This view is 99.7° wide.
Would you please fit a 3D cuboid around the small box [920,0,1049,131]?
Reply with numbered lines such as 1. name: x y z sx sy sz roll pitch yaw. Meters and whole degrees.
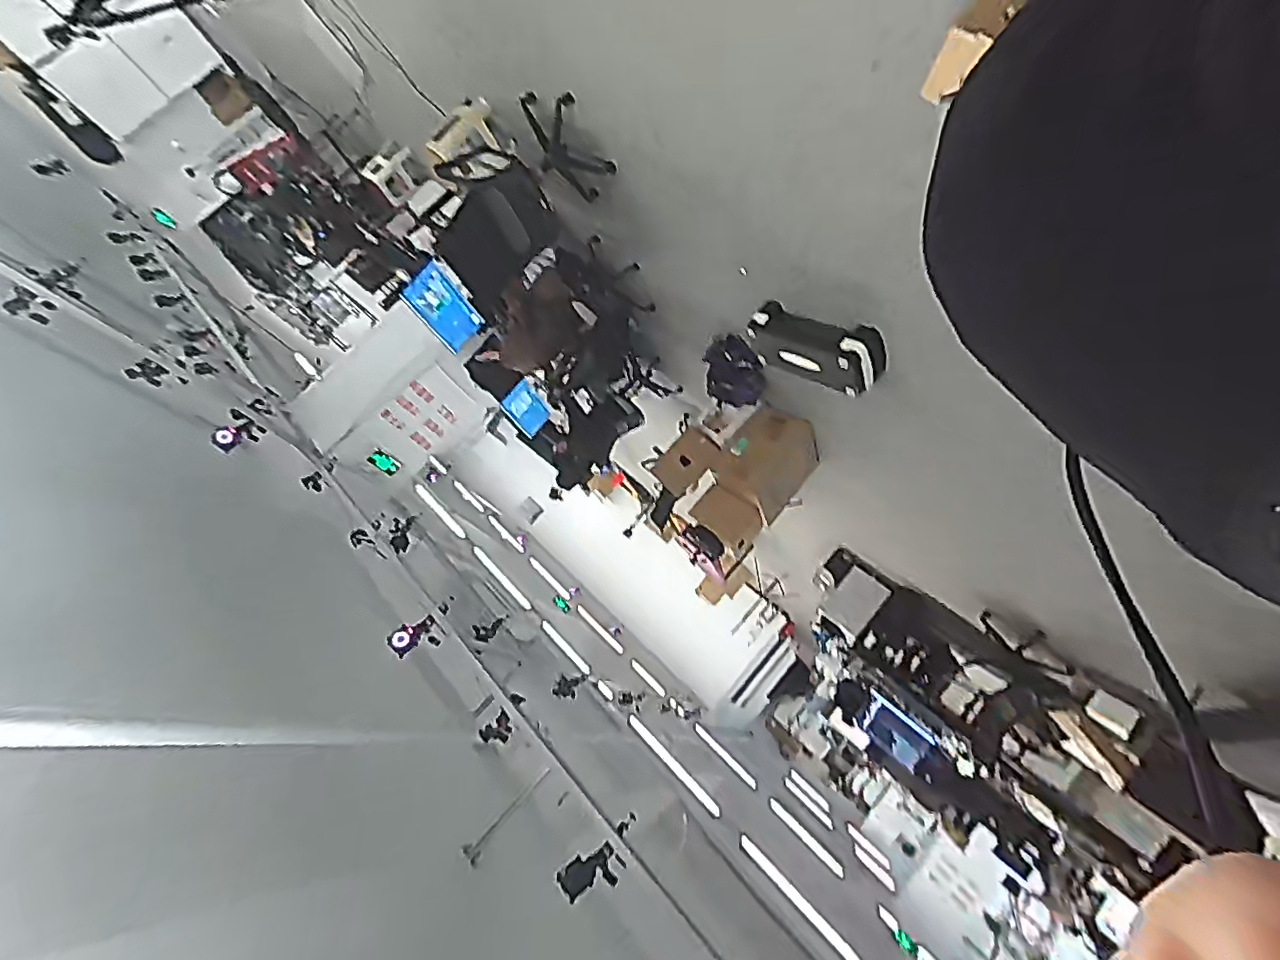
1. small box: 0.811 -0.988 1.271 0.168 0.176 0.179 39 171 11
